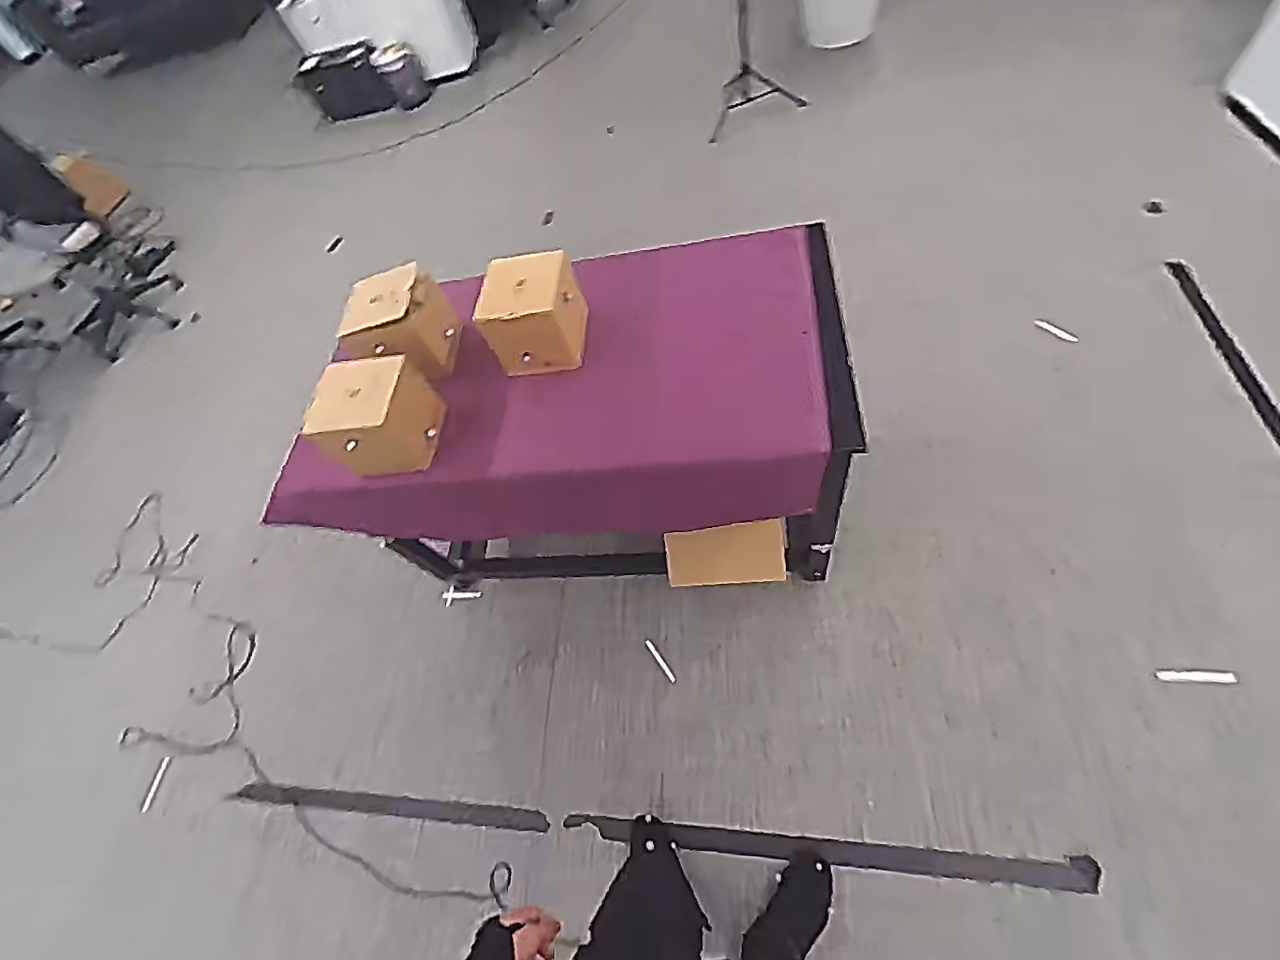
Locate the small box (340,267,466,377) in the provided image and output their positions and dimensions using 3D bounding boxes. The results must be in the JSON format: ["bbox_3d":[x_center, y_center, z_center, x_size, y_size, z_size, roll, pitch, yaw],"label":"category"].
[{"bbox_3d":[-0.519,-0.341,1.207,0.179,0.176,0.168,-5,61,10],"label":"small box"}]

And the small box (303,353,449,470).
[{"bbox_3d":[-0.519,-0.131,1.088,0.179,0.176,0.168,-3,61,12],"label":"small box"}]
